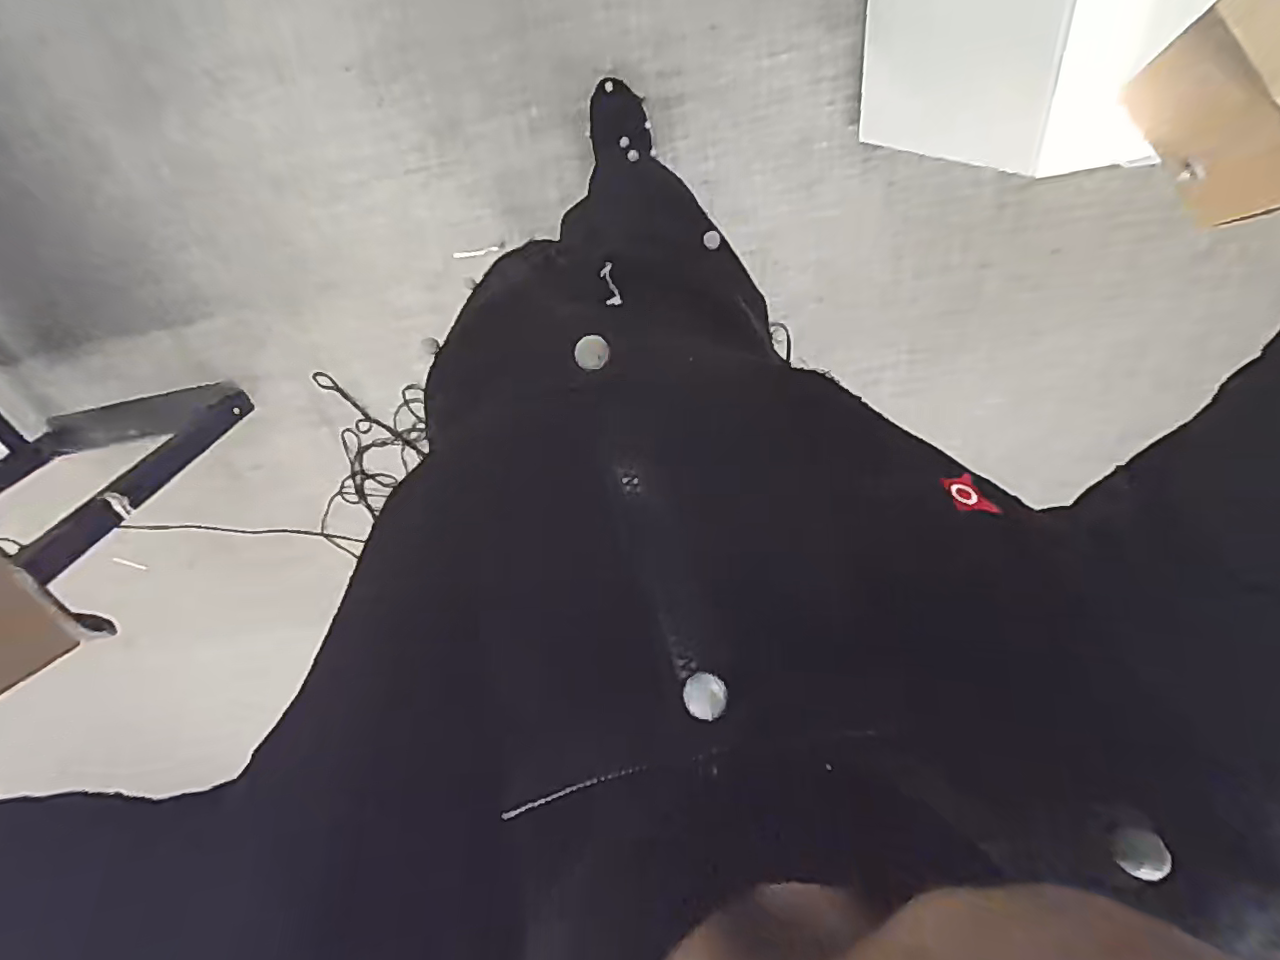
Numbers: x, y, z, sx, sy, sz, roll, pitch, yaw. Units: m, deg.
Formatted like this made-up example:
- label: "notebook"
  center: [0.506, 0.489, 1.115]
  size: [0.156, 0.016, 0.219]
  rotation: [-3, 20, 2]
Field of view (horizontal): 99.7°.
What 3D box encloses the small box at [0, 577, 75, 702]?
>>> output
- label: "small box"
  center: [-0.655, 0.153, 0.436]
  size: [0.168, 0.179, 0.176]
  rotation: [-30, 105, -8]
